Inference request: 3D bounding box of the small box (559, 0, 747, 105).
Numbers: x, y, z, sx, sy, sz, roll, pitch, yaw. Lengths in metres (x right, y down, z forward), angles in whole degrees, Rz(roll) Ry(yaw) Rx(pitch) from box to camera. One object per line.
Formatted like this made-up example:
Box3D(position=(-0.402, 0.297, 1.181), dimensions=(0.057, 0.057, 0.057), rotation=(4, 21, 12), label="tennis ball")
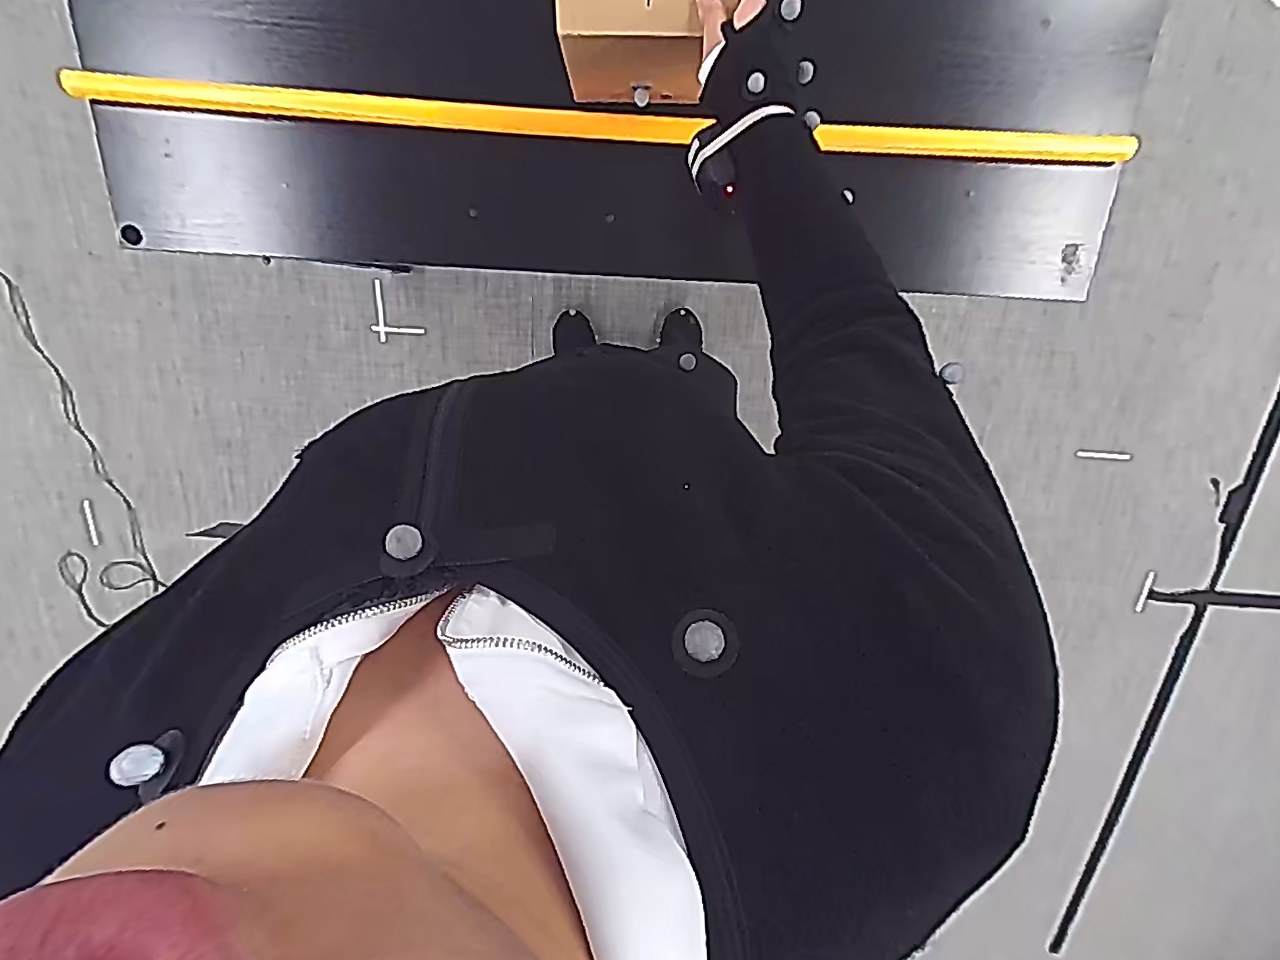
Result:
Box3D(position=(0.011, -0.495, 0.522), dimensions=(0.168, 0.176, 0.179), rotation=(1, 108, -1), label="small box")
